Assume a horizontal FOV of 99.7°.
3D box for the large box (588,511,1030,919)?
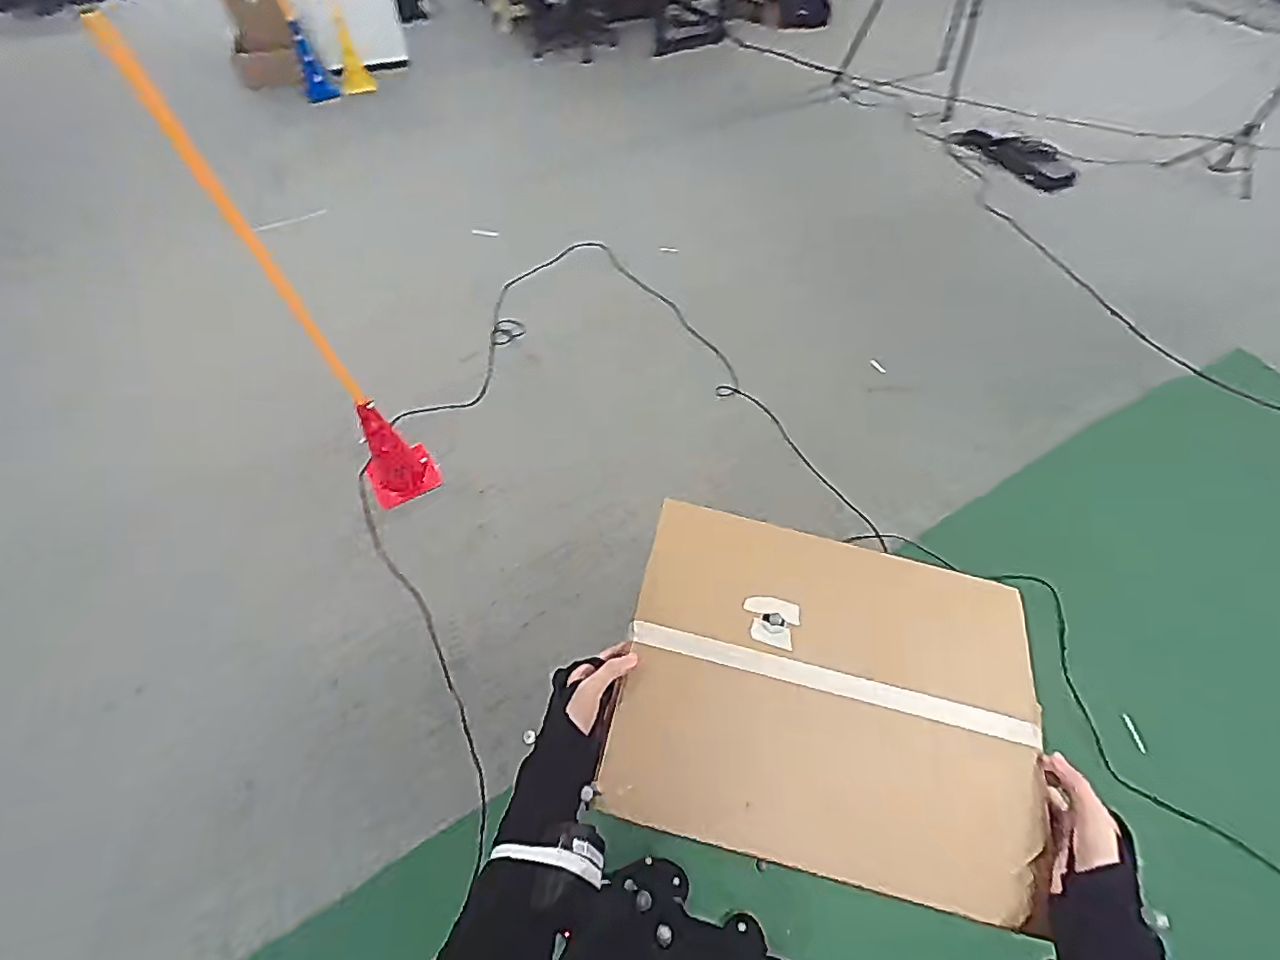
[{"bbox_3d":[0.170,0.276,0.675,0.408,0.320,0.320,13,61,3],"label":"large box"}]
